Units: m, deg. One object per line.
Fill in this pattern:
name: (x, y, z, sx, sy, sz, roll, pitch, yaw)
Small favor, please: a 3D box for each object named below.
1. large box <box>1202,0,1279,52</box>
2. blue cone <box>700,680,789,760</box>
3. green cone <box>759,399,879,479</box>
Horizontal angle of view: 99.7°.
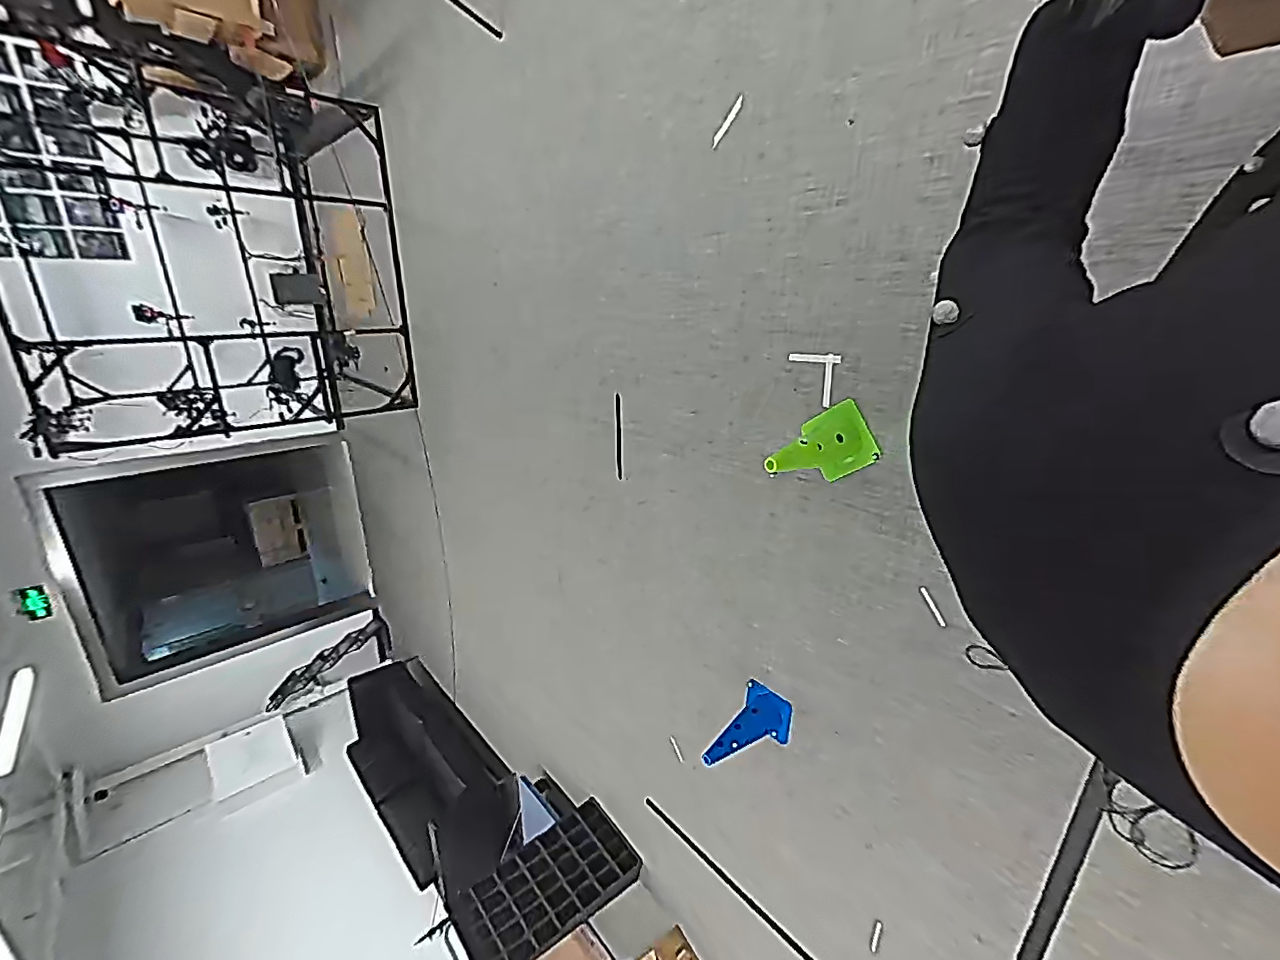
large box: (0.547, -0.451, 0.219, 0.408, 0.320, 0.320, 17, 121, 44)
blue cone: (0.371, 0.932, 2.009, 0.192, 0.380, 0.193, 25, 121, 44)
green cone: (0.466, -0.083, 1.519, 0.202, 0.368, 0.200, -36, 74, 51)
